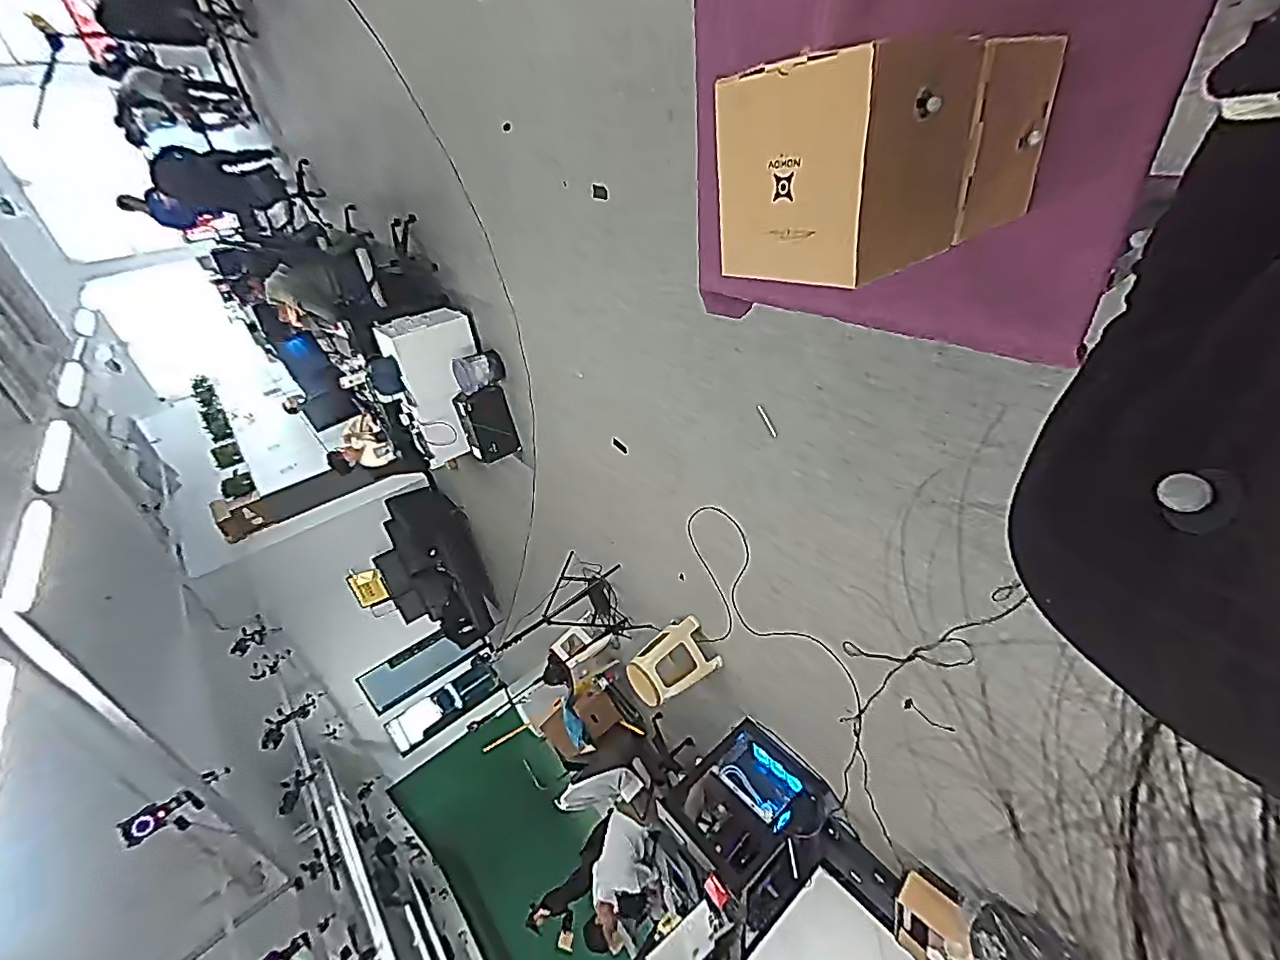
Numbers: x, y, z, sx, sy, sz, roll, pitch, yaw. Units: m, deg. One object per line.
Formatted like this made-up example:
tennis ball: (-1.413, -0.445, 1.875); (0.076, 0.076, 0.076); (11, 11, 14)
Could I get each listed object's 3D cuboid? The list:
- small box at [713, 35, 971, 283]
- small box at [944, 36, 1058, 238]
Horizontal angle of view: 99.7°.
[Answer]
small box: (0.192, -0.309, 0.529); (0.168, 0.176, 0.179); (30, 139, 46)
small box: (0.317, -0.378, 0.606); (0.179, 0.176, 0.168); (29, 138, 44)
